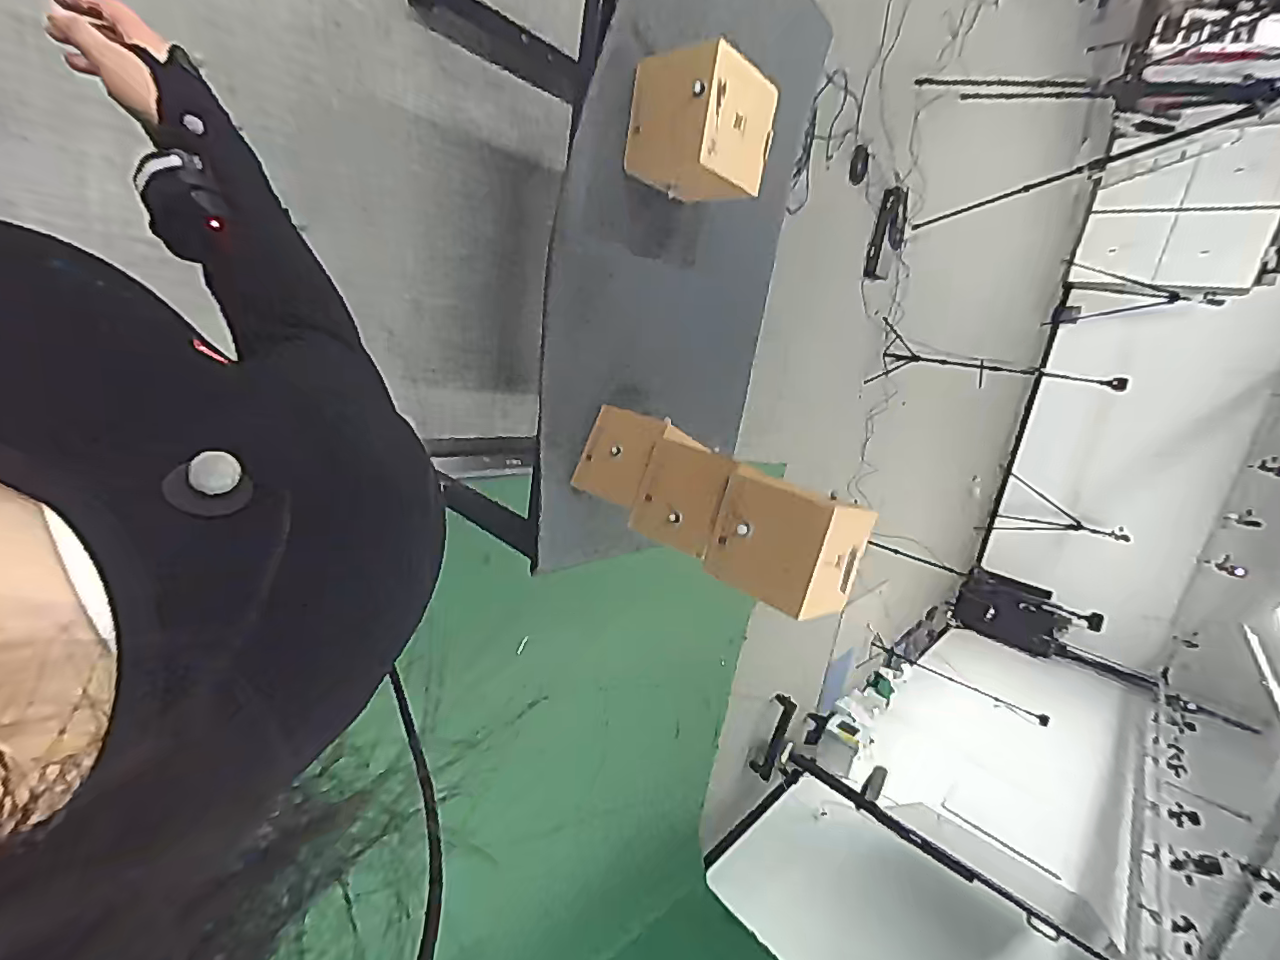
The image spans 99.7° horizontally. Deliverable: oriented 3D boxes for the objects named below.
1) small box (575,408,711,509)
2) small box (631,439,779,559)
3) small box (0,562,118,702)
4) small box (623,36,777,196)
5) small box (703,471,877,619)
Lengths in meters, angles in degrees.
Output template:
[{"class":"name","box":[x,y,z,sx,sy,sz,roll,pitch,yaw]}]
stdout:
[{"class":"small box","box":[0.006,-0.026,1.031,0.179,0.176,0.168,25,88,-52]},{"class":"small box","box":[0.113,0.037,0.925,0.179,0.176,0.168,16,95,-52]},{"class":"small box","box":[-1.157,0.277,1.021,0.168,0.176,0.179,-50,137,-21]},{"class":"small box","box":[0.098,-0.586,0.900,0.179,0.176,0.168,-6,111,-48]},{"class":"small box","box":[0.226,0.091,0.818,0.179,0.176,0.168,7,101,-50]}]
